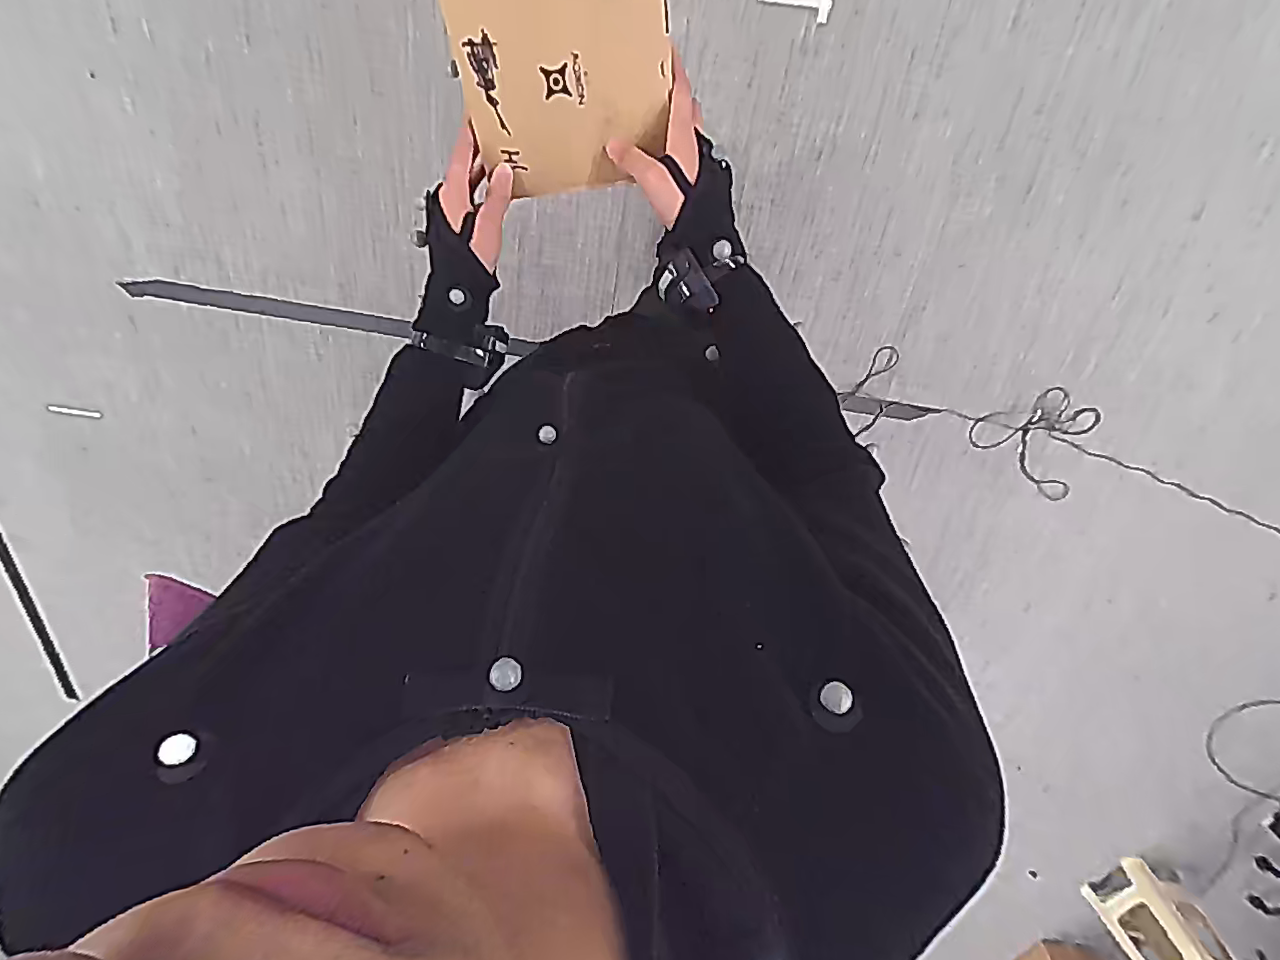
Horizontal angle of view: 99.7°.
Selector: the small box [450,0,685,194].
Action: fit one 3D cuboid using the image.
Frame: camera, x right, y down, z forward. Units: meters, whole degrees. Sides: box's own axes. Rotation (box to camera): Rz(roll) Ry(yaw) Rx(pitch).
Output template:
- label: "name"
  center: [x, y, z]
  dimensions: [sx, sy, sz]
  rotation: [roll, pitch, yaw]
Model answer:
- label: "small box"
  center: [-0.058, -0.386, 0.502]
  dimensions: [0.179, 0.176, 0.168]
  rotation: [-6, 132, 2]
